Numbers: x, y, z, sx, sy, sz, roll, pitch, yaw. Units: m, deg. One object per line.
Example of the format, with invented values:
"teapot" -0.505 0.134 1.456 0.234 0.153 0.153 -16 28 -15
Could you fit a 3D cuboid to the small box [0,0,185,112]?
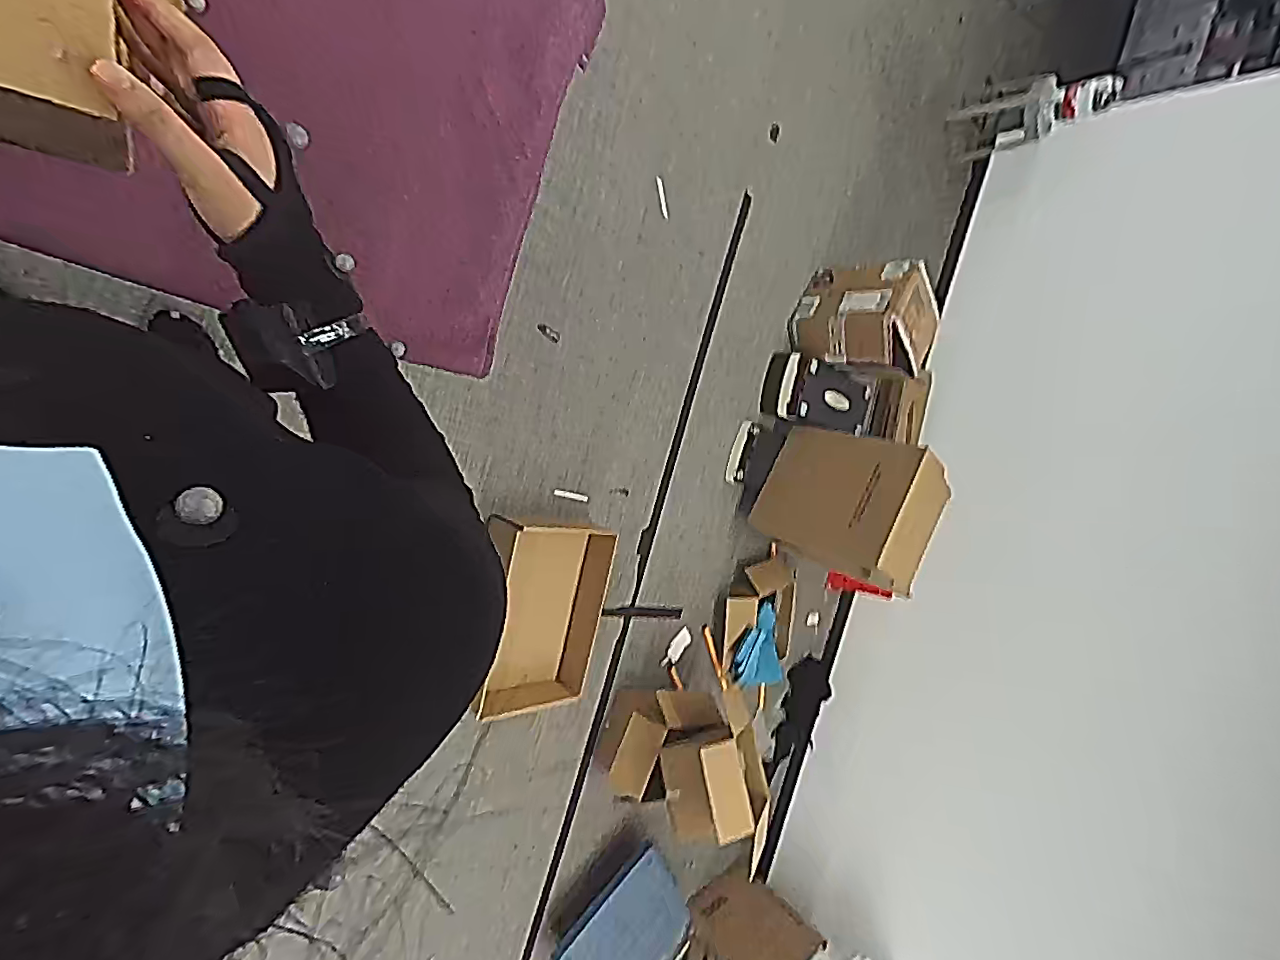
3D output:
"small box" -0.464 -0.439 0.421 0.168 0.176 0.179 15 92 -44
